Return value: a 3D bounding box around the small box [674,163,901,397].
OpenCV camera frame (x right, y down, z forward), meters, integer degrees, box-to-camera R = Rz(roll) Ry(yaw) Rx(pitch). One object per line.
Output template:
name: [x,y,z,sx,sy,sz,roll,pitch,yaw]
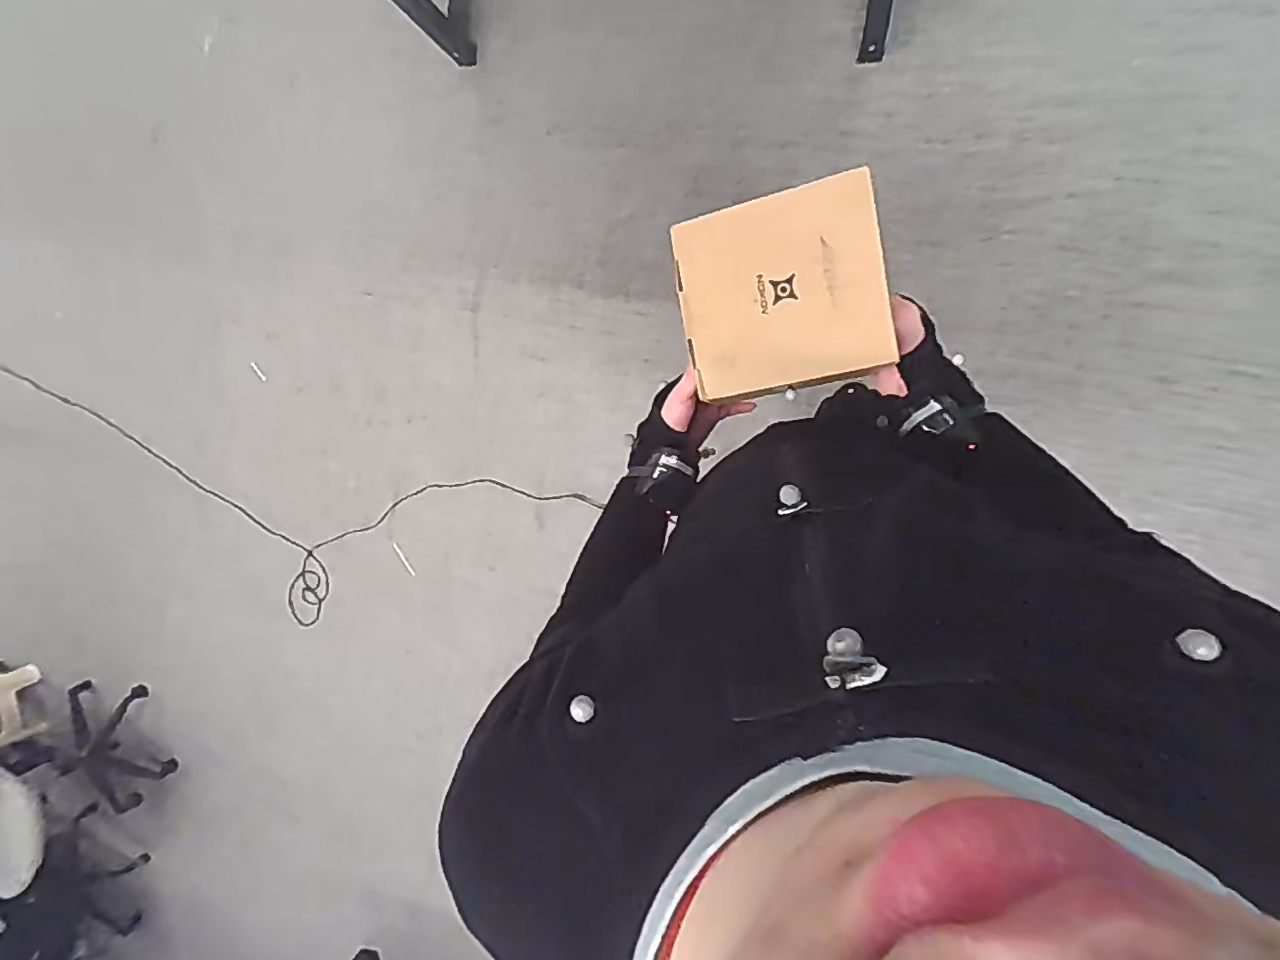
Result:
small box: [0.149,-0.182,0.555,0.179,0.176,0.168,-10,95,16]
